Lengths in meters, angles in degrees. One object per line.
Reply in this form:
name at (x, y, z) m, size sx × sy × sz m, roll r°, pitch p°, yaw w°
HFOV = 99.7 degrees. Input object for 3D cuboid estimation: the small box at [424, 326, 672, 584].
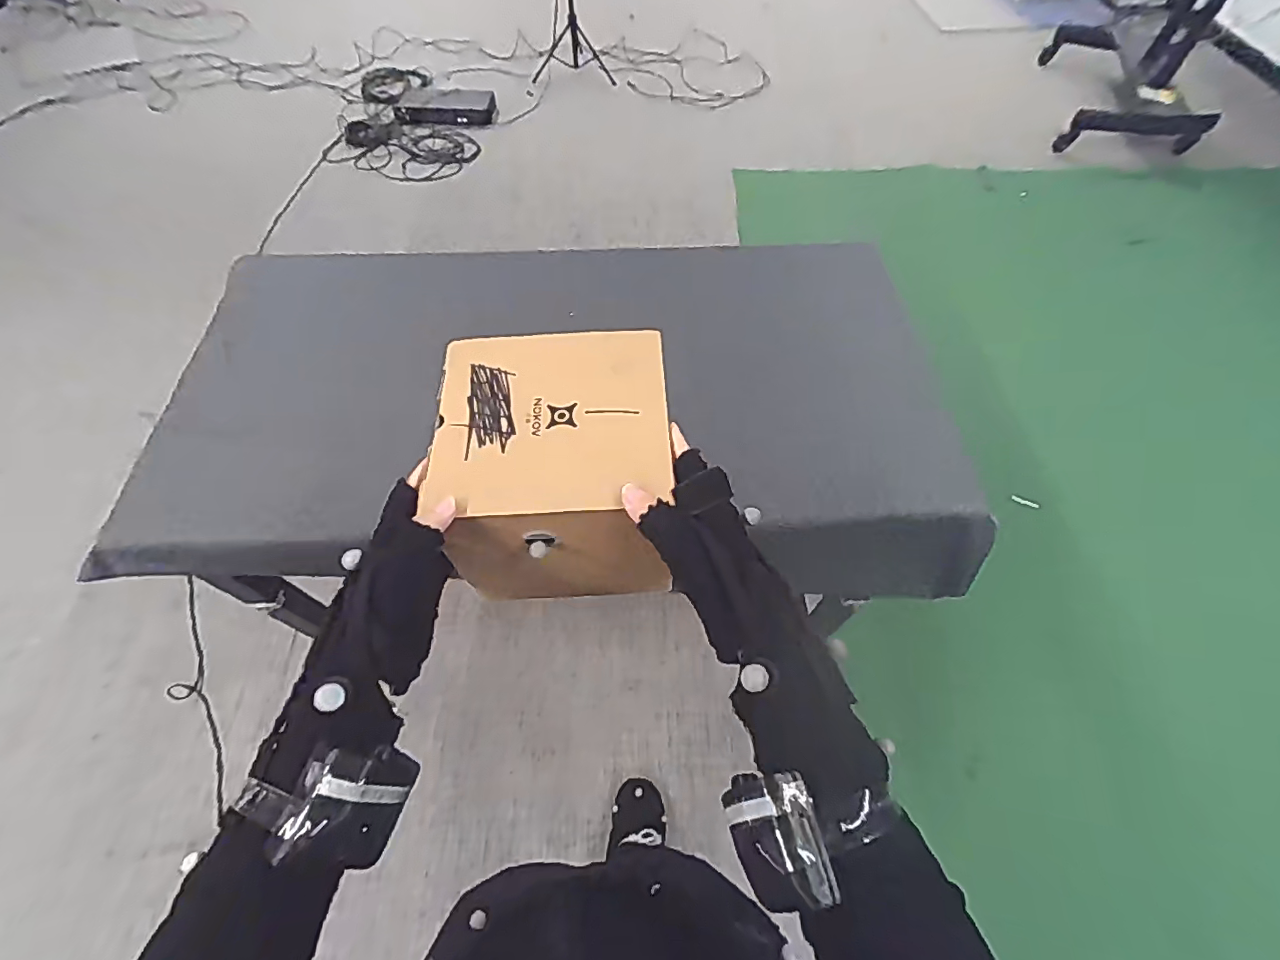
small box at (-0.064, -0.014, 0.481) m, size 0.179 × 0.176 × 0.168 m, roll -3°, pitch 59°, yaw 0°
